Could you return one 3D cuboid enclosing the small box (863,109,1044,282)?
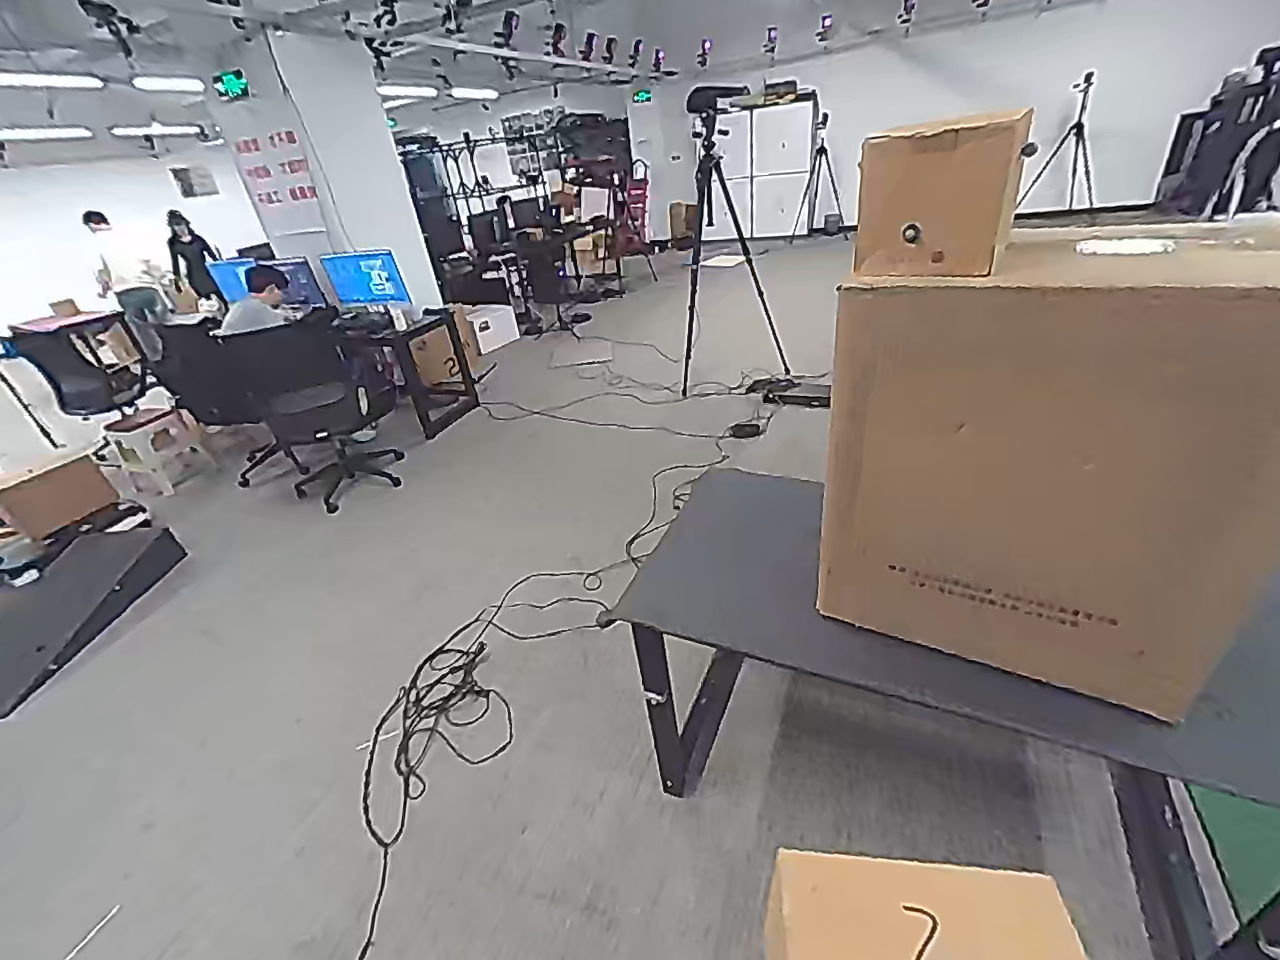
[{"bbox_3d":[0.406,-0.373,0.714,0.168,0.176,0.179,15,41,32],"label":"small box"}]
